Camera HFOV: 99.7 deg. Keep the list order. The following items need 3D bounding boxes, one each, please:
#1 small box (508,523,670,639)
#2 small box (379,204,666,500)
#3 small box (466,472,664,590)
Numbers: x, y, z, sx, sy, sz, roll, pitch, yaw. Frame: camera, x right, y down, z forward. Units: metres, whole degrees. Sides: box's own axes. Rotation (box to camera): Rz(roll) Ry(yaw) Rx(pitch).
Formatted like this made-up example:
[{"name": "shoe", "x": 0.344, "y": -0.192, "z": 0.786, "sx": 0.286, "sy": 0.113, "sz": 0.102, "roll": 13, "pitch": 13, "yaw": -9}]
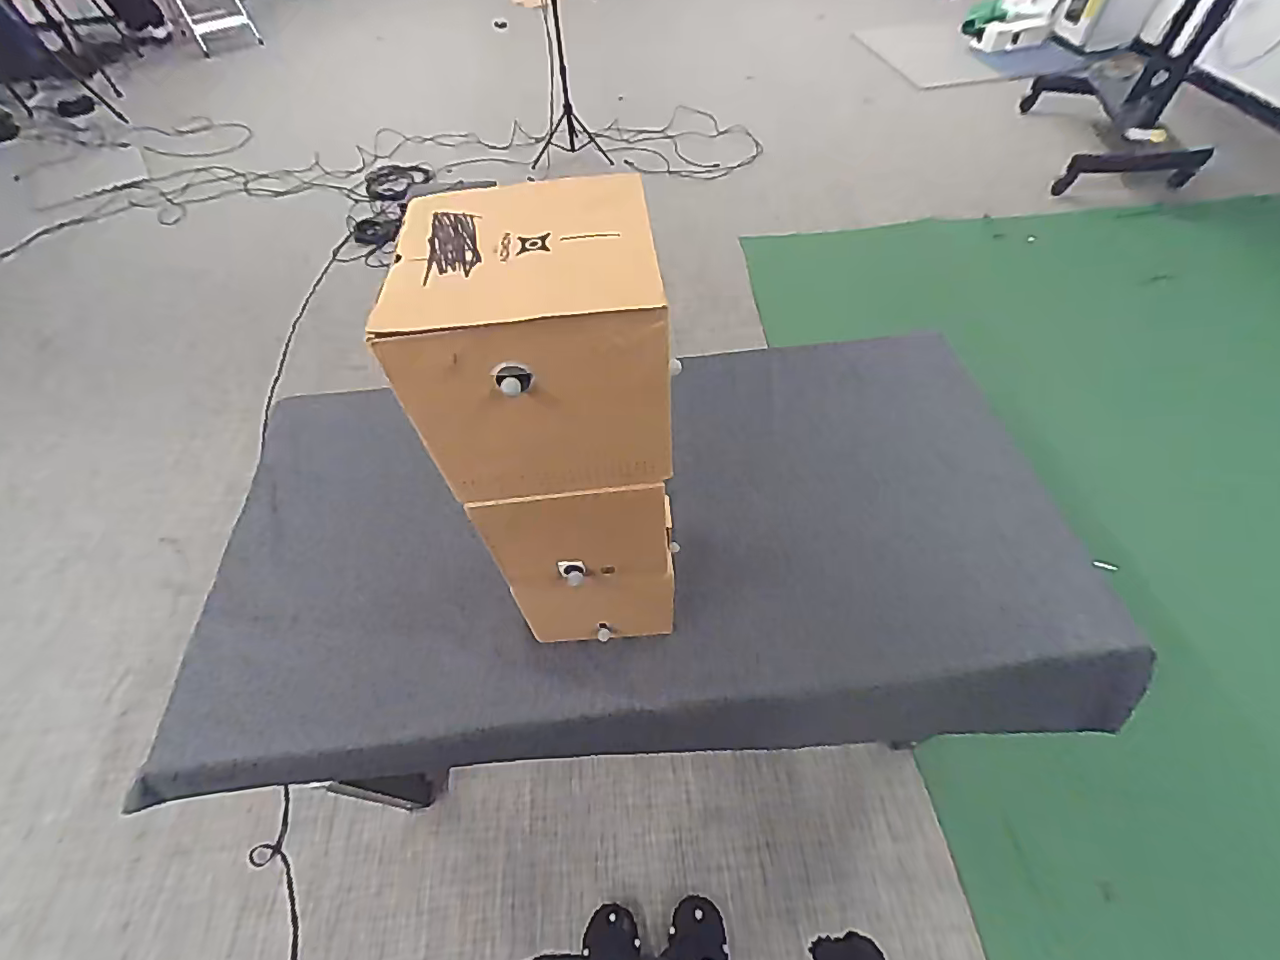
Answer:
[{"name": "small box", "x": -0.058, "y": 0.091, "z": 0.687, "sx": 0.179, "sy": 0.176, "sz": 0.168, "roll": -4, "pitch": 53, "yaw": -1}, {"name": "small box", "x": -0.075, "y": -0.094, "z": 0.438, "sx": 0.179, "sy": 0.176, "sz": 0.168, "roll": -6, "pitch": 54, "yaw": -1}, {"name": "small box", "x": -0.066, "y": -0.007, "z": 0.558, "sx": 0.168, "sy": 0.176, "sz": 0.179, "roll": -7, "pitch": 55, "yaw": -1}]
